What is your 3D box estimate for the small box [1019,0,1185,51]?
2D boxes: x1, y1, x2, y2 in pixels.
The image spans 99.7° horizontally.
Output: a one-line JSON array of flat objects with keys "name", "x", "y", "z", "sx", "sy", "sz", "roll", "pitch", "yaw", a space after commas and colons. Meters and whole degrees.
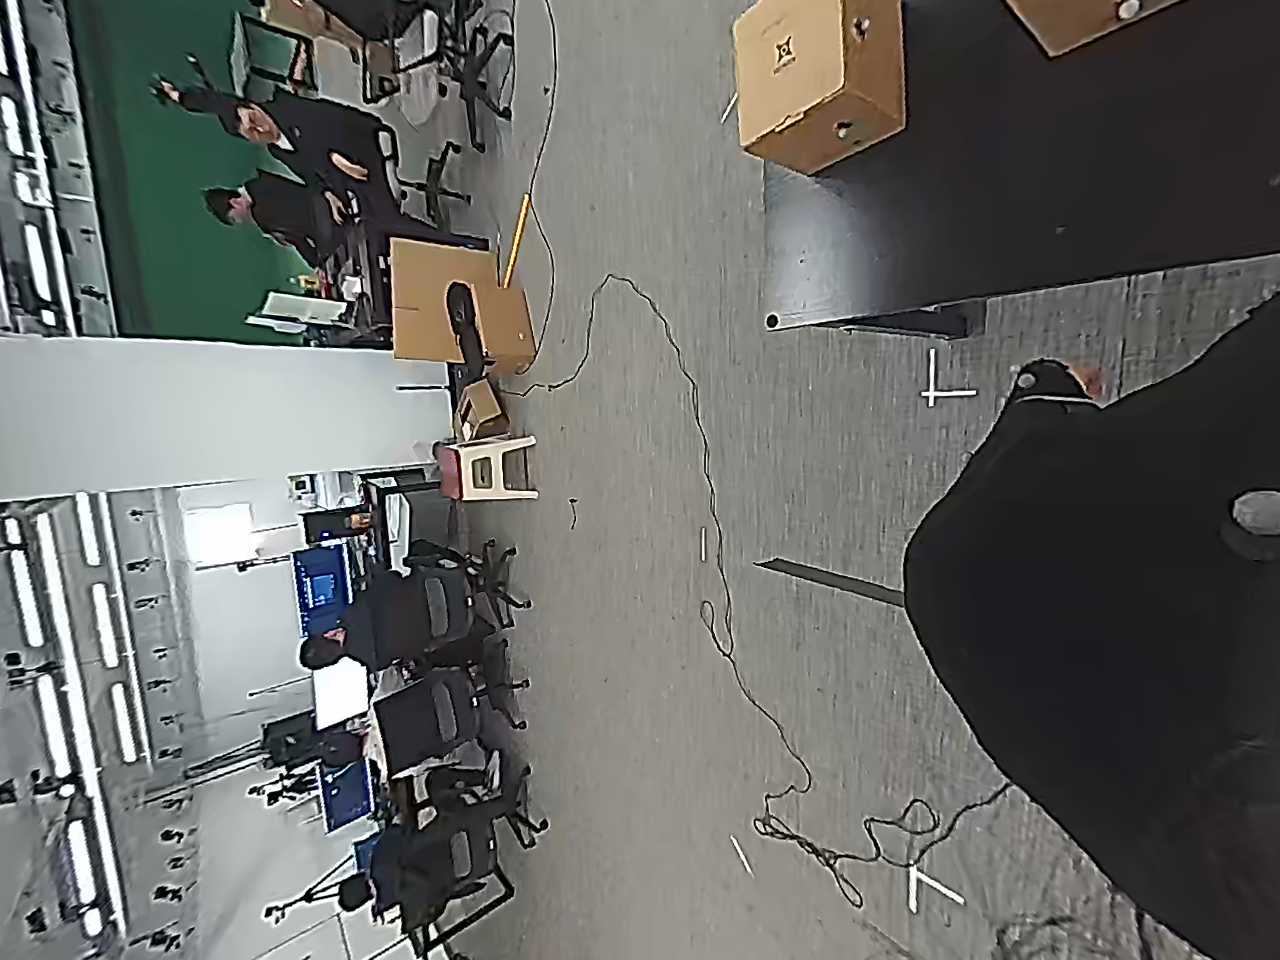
[{"name": "small box", "x": 0.454, "y": -0.553, "z": 0.496, "sx": 0.168, "sy": 0.176, "sz": 0.179, "roll": 6, "pitch": 102, "yaw": 51}]

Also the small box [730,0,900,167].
[{"name": "small box", "x": 0.246, "y": -0.565, "z": 0.755, "sx": 0.168, "sy": 0.176, "sz": 0.179, "roll": 1, "pitch": 97, "yaw": 50}]
